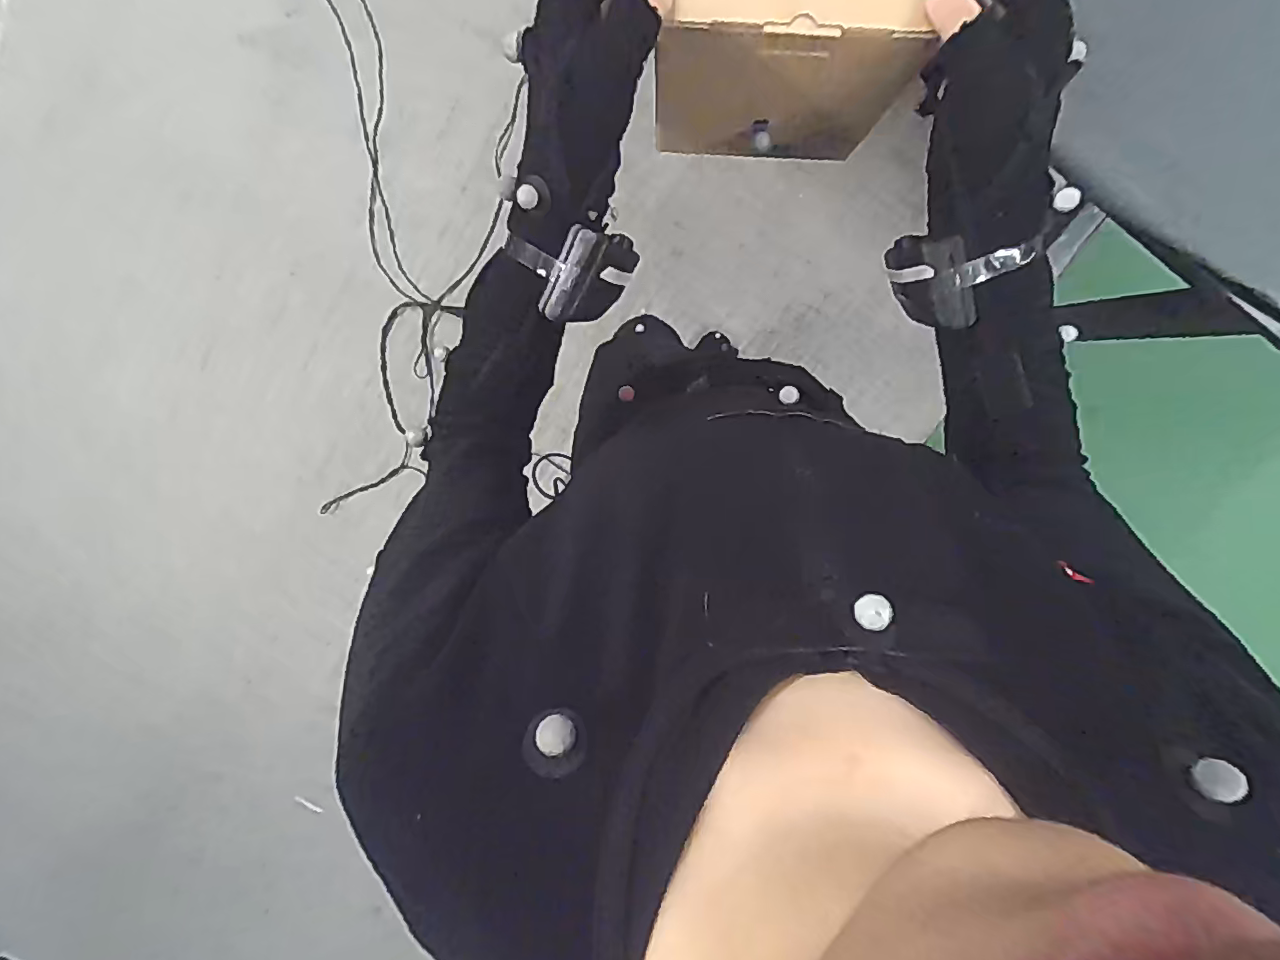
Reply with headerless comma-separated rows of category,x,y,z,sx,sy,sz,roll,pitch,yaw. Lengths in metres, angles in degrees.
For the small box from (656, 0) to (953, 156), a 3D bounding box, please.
small box,0.099,-0.354,0.367,0.168,0.176,0.179,4,100,1
